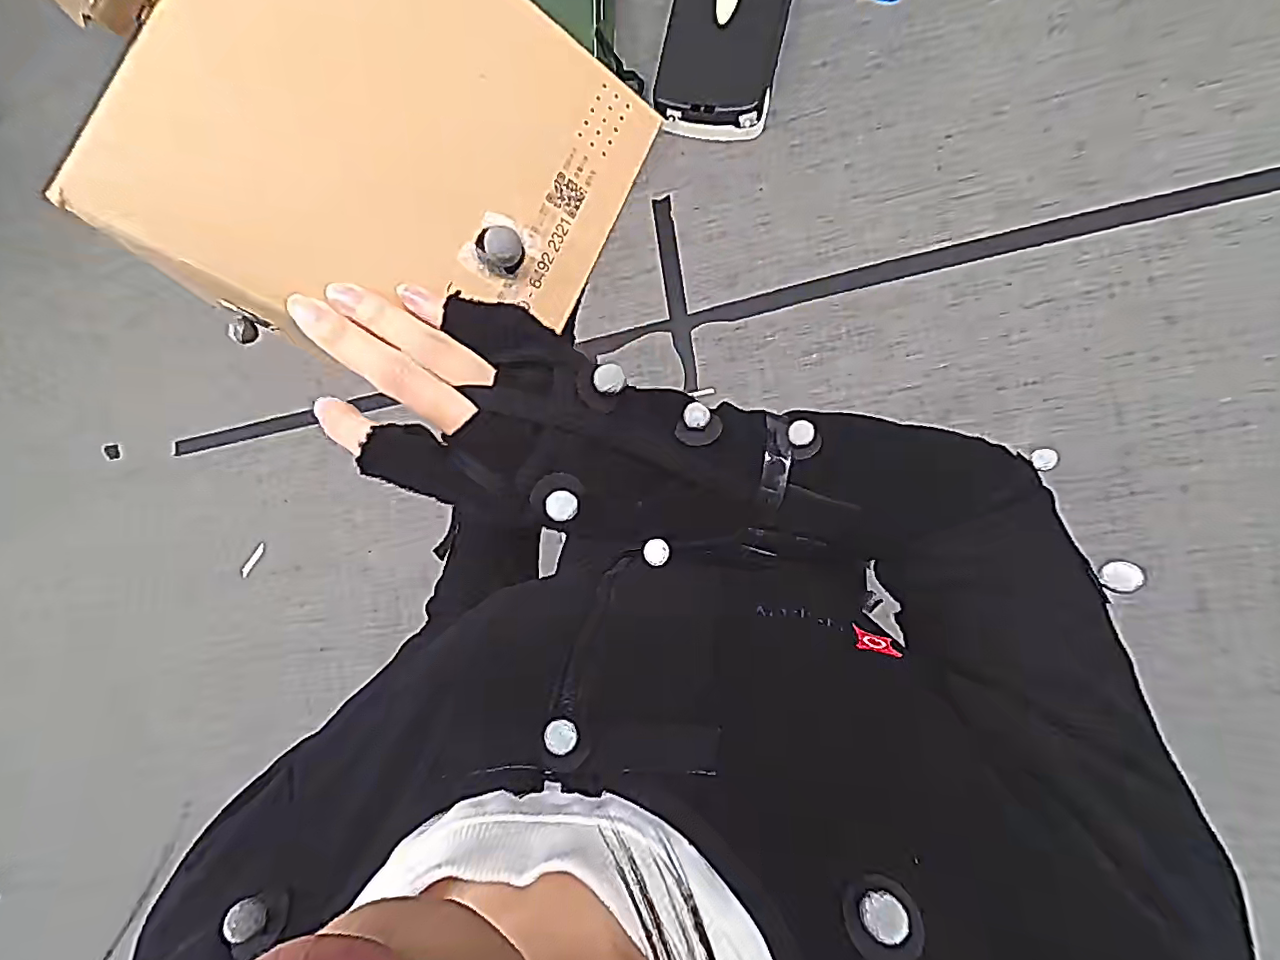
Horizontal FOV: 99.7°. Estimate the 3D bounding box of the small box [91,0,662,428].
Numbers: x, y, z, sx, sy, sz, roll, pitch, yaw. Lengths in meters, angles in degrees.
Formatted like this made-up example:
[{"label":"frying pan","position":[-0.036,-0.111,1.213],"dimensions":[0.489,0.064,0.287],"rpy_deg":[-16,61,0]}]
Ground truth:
[{"label":"small box","position":[-0.118,-0.137,0.296],"dimensions":[0.176,0.179,0.168],"rpy_deg":[26,84,-26]}]
